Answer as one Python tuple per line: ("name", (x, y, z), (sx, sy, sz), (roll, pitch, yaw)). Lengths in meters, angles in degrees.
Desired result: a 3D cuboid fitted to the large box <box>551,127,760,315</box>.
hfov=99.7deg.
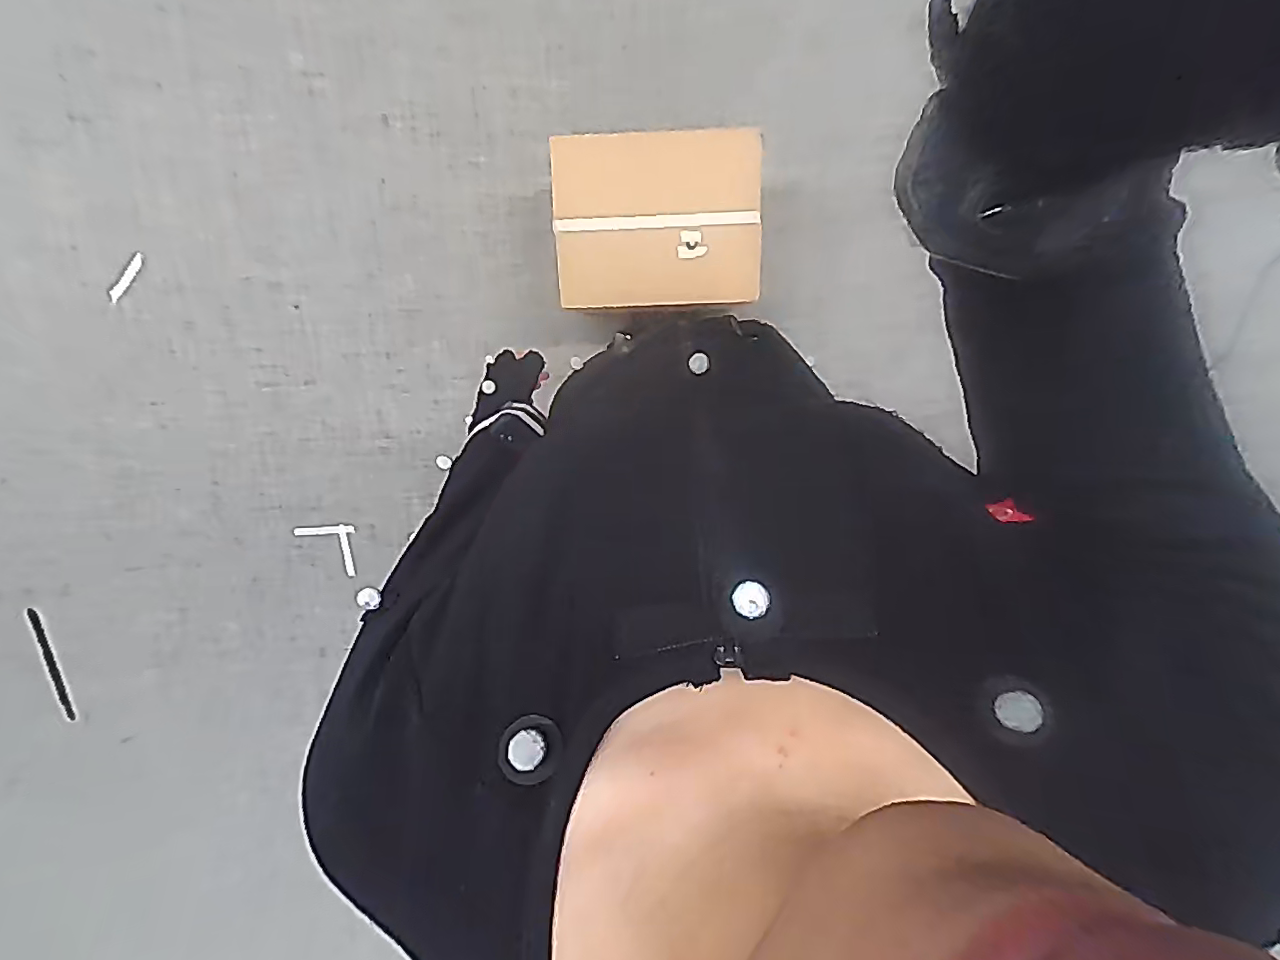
("large box", (0.033, -0.544, 1.201), (0.408, 0.320, 0.320), (-2, 106, 0))
